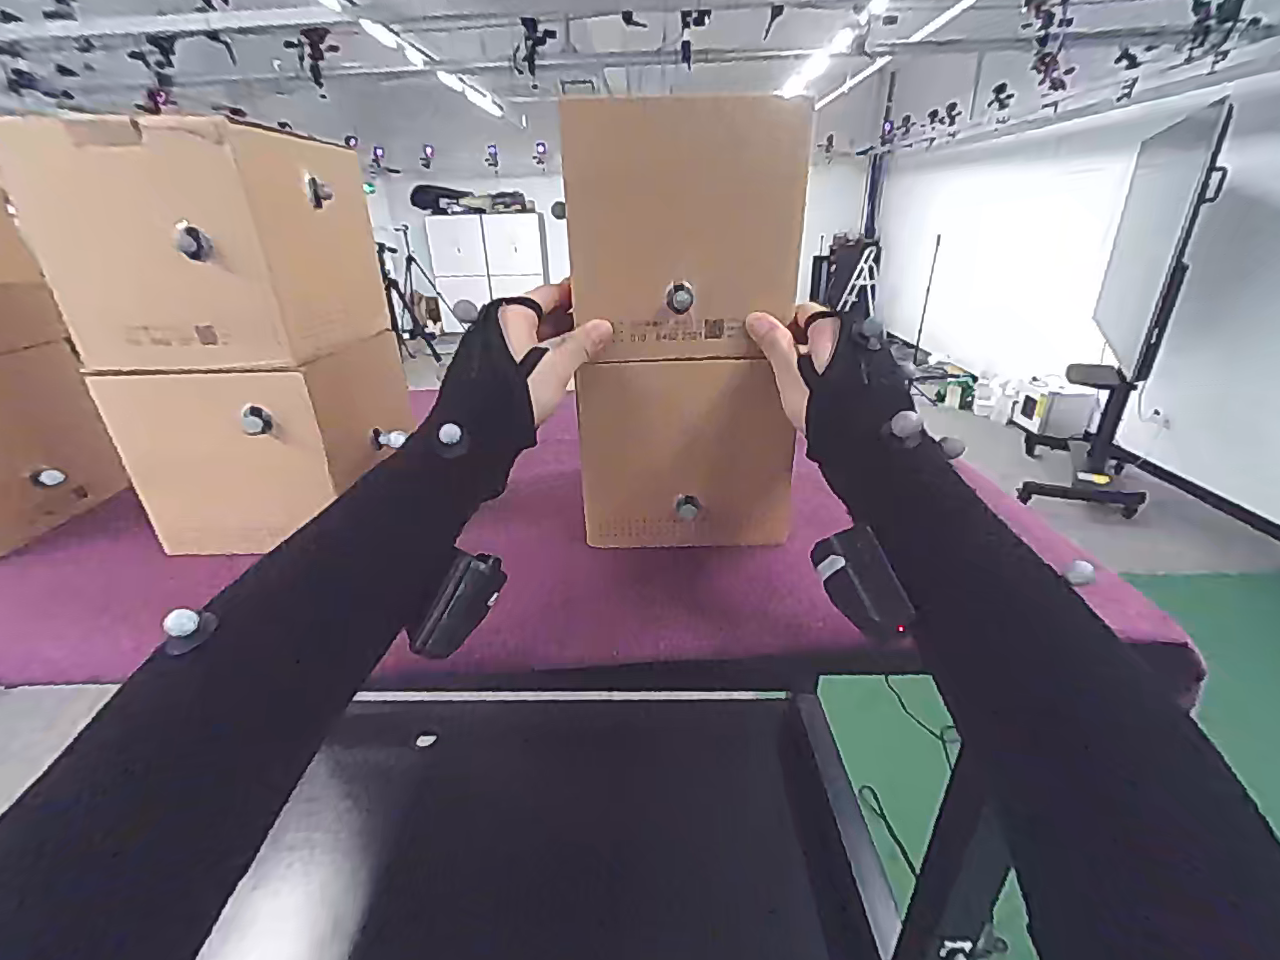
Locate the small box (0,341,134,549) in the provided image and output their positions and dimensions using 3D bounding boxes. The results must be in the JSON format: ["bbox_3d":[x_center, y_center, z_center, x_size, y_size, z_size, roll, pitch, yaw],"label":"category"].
[{"bbox_3d":[-0.668,-0.034,0.523,0.179,0.176,0.168,-1,25,-1],"label":"small box"}]

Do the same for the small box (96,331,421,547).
[{"bbox_3d":[-0.336,-0.045,0.524,0.179,0.176,0.168,-1,24,2],"label":"small box"}]

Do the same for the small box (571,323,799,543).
[{"bbox_3d":[0.037,-0.050,0.513,0.179,0.176,0.168,-1,23,2],"label":"small box"}]

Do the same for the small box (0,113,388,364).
[{"bbox_3d":[-0.341,-0.196,0.464,0.168,0.176,0.179,0,24,2],"label":"small box"}]
